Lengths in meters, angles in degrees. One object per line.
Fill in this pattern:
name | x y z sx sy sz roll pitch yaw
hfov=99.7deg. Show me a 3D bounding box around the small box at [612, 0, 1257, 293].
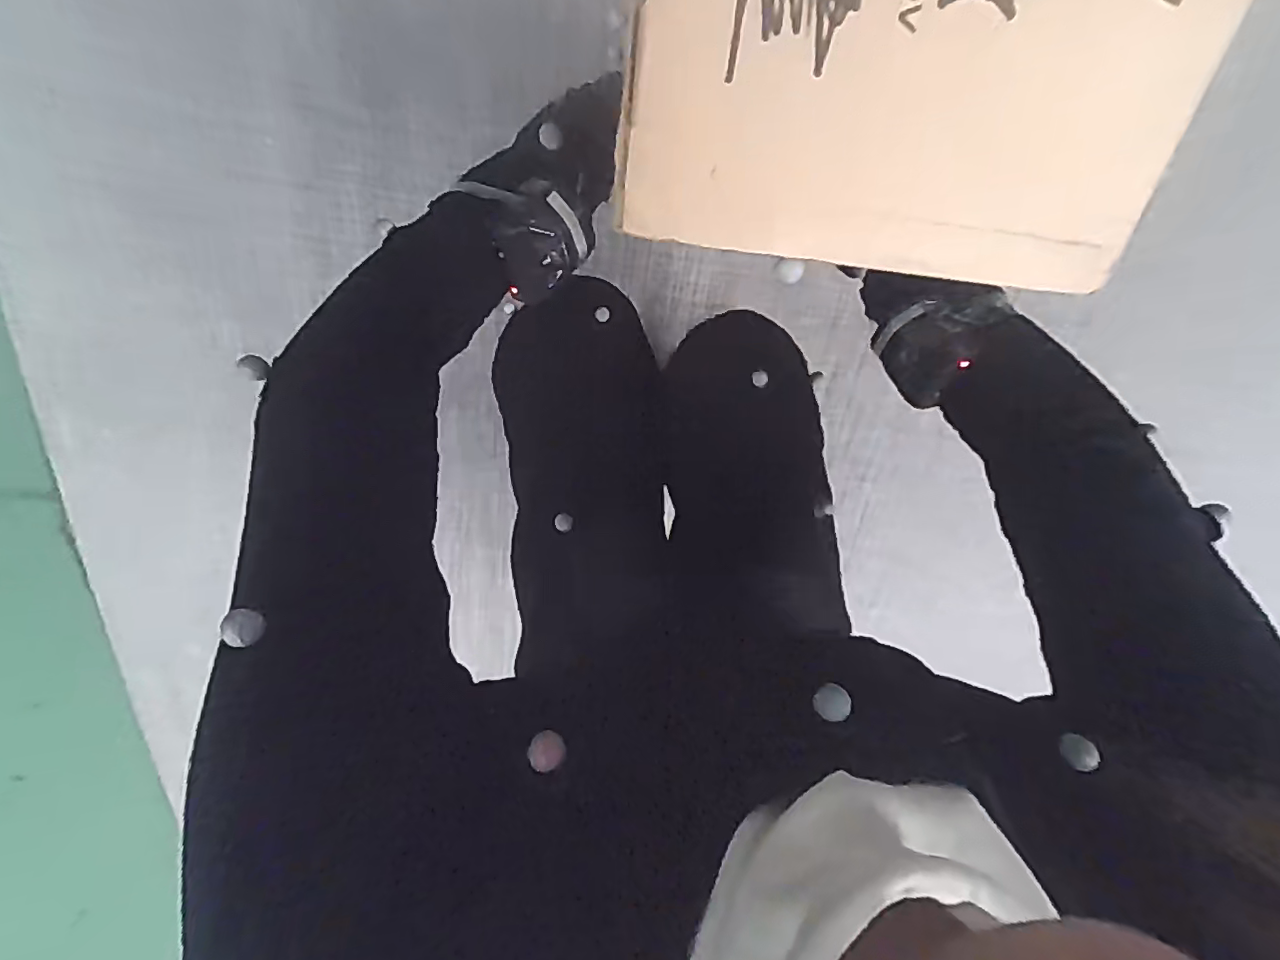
small box | 0.085 -0.182 0.215 0.179 0.176 0.168 5 119 -5
